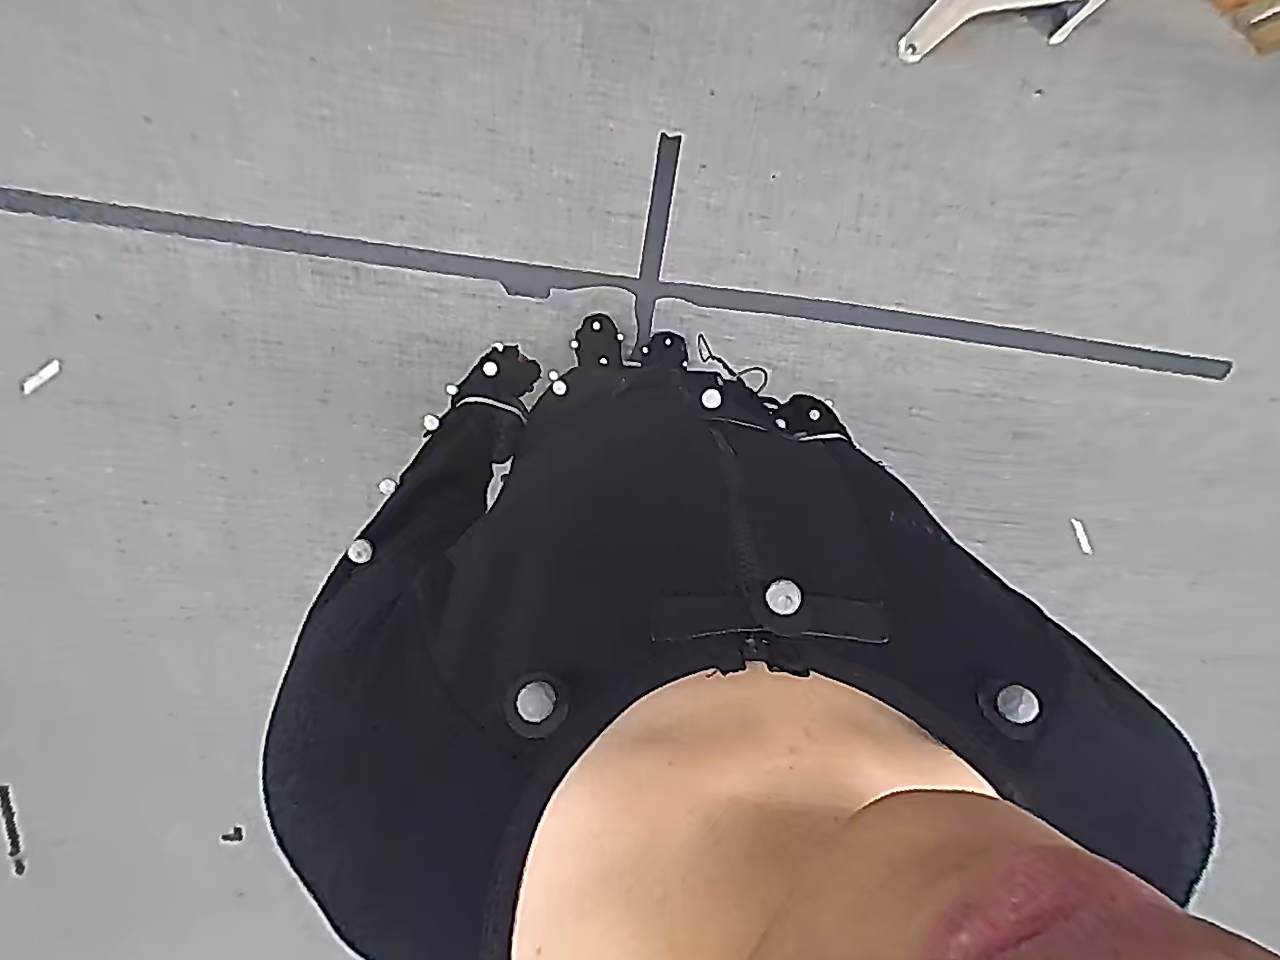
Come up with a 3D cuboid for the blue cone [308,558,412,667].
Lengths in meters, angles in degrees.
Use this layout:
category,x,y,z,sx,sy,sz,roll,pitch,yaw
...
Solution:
category,x,y,z,sx,sy,sz,roll,pitch,yaw
blue cone,-0.764,0.364,1.423,0.192,0.380,0.193,3,108,-3
